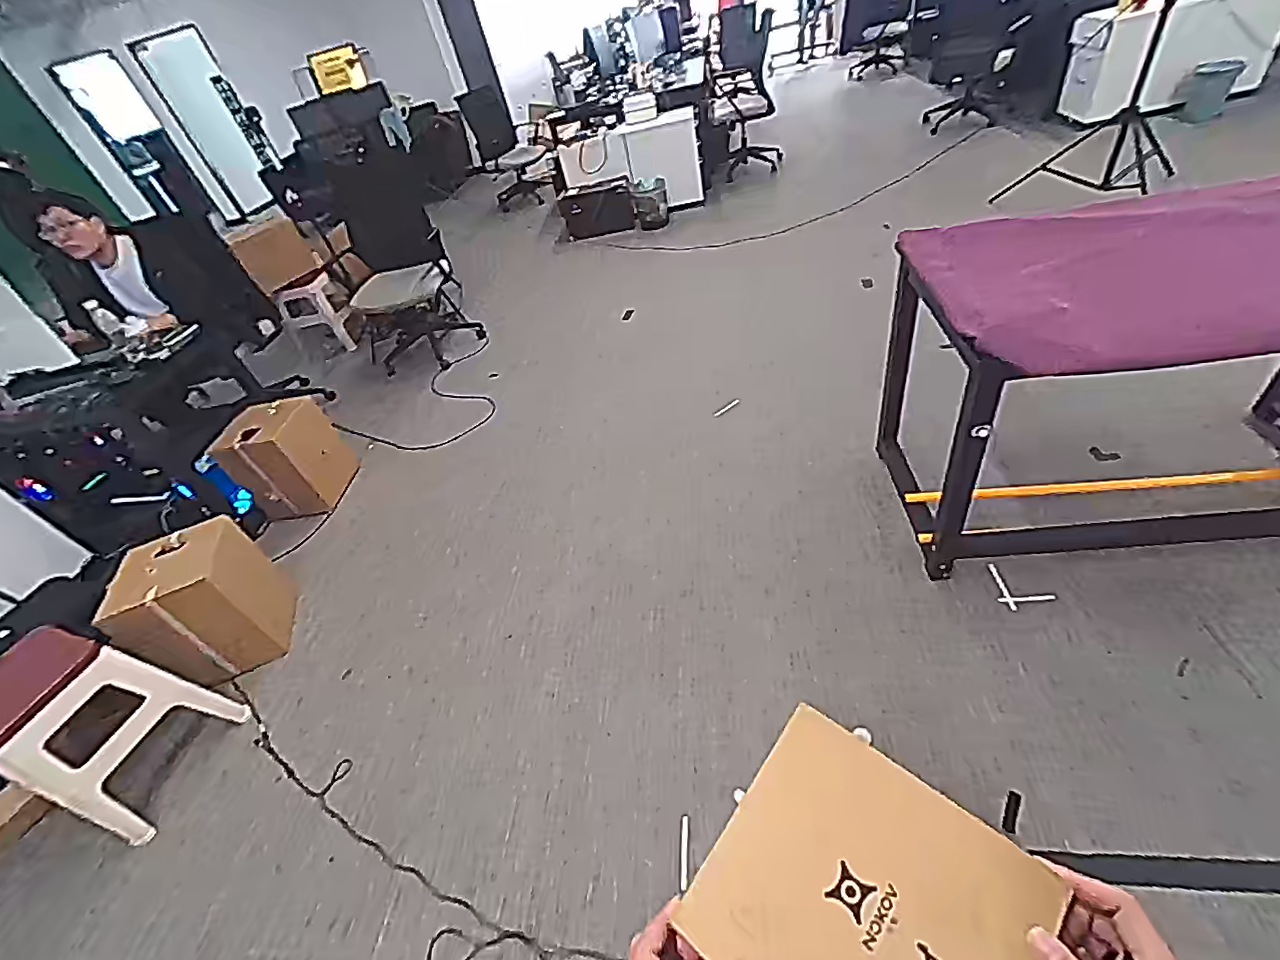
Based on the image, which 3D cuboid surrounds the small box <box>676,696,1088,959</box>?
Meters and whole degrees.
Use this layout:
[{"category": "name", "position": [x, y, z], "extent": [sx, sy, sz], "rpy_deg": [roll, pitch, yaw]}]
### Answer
[{"category": "small box", "position": [0.152, 0.291, 0.380], "extent": [0.179, 0.176, 0.168], "rpy_deg": [30, 68, 30]}]
